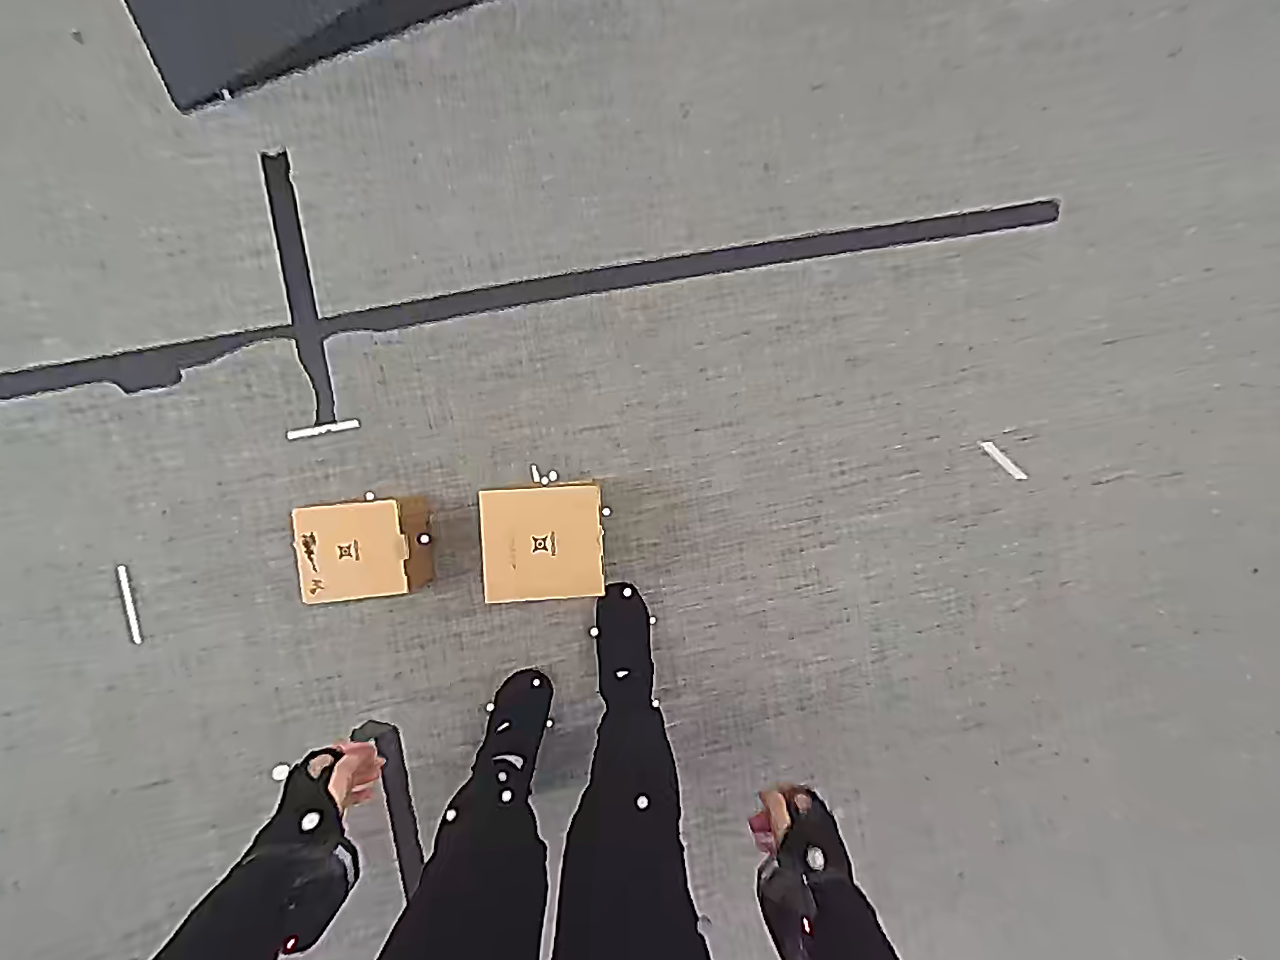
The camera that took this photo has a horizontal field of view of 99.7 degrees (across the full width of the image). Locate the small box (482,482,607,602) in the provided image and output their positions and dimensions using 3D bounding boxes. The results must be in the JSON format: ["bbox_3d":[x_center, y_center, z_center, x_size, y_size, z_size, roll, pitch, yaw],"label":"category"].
[{"bbox_3d":[-0.146,0.090,0.855,0.179,0.176,0.168,-2,91,-5],"label":"small box"}]

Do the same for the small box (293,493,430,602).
[{"bbox_3d":[-0.493,0.114,0.985,0.179,0.176,0.168,-4,93,-6],"label":"small box"}]
